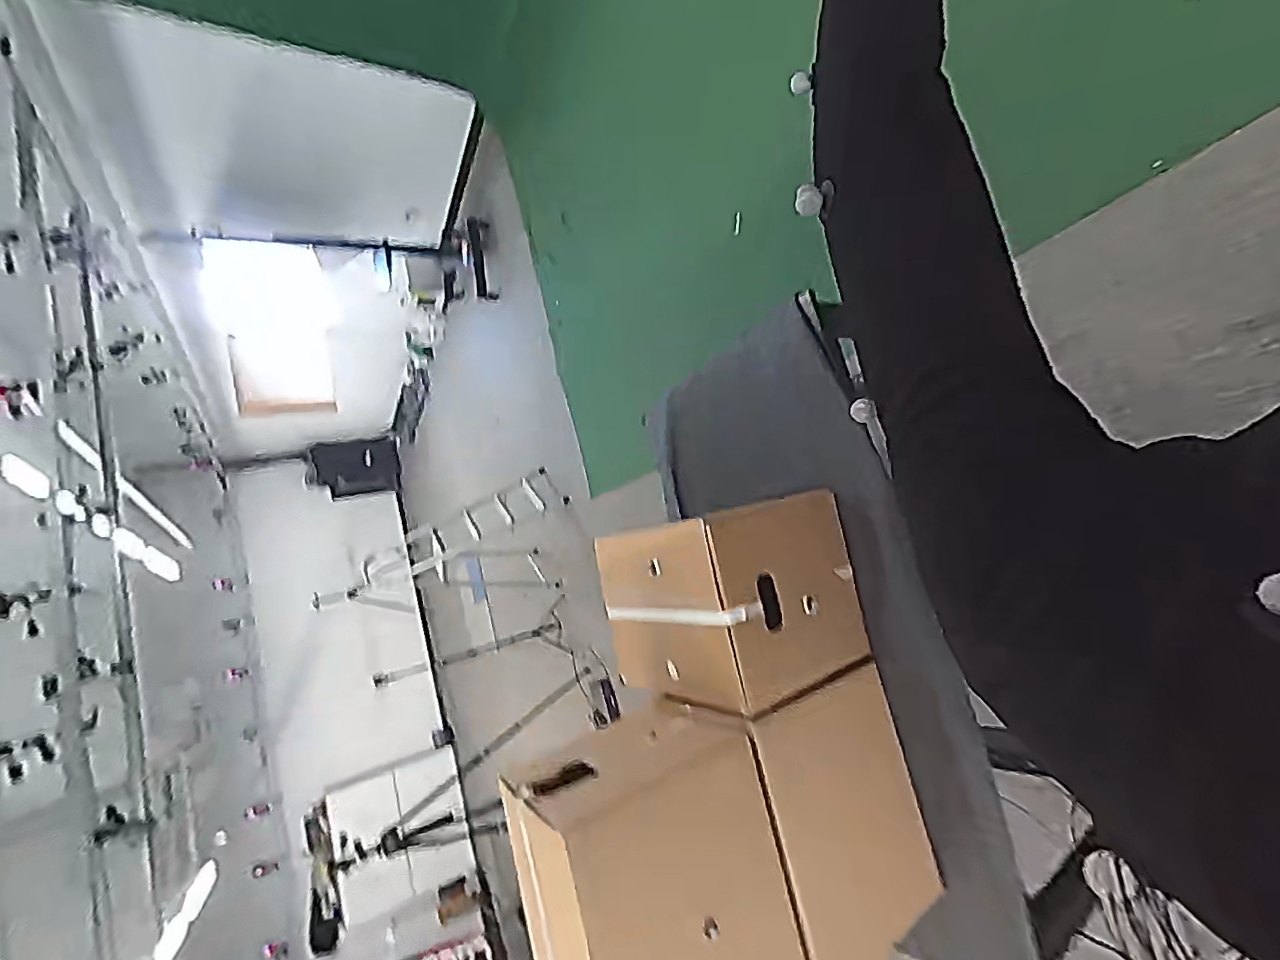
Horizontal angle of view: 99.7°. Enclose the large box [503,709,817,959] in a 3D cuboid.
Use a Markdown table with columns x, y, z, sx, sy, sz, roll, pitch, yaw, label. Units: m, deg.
| x | y | z | sx | sy | sz | roll | pitch | yaw | label |
| --- | --- | --- | --- | --- | --- | --- | --- | --- | --- |
| 0.021 | 0.617 | 0.829 | 0.320 | 0.320 | 0.408 | -26 | 77 | 58 | large box |
